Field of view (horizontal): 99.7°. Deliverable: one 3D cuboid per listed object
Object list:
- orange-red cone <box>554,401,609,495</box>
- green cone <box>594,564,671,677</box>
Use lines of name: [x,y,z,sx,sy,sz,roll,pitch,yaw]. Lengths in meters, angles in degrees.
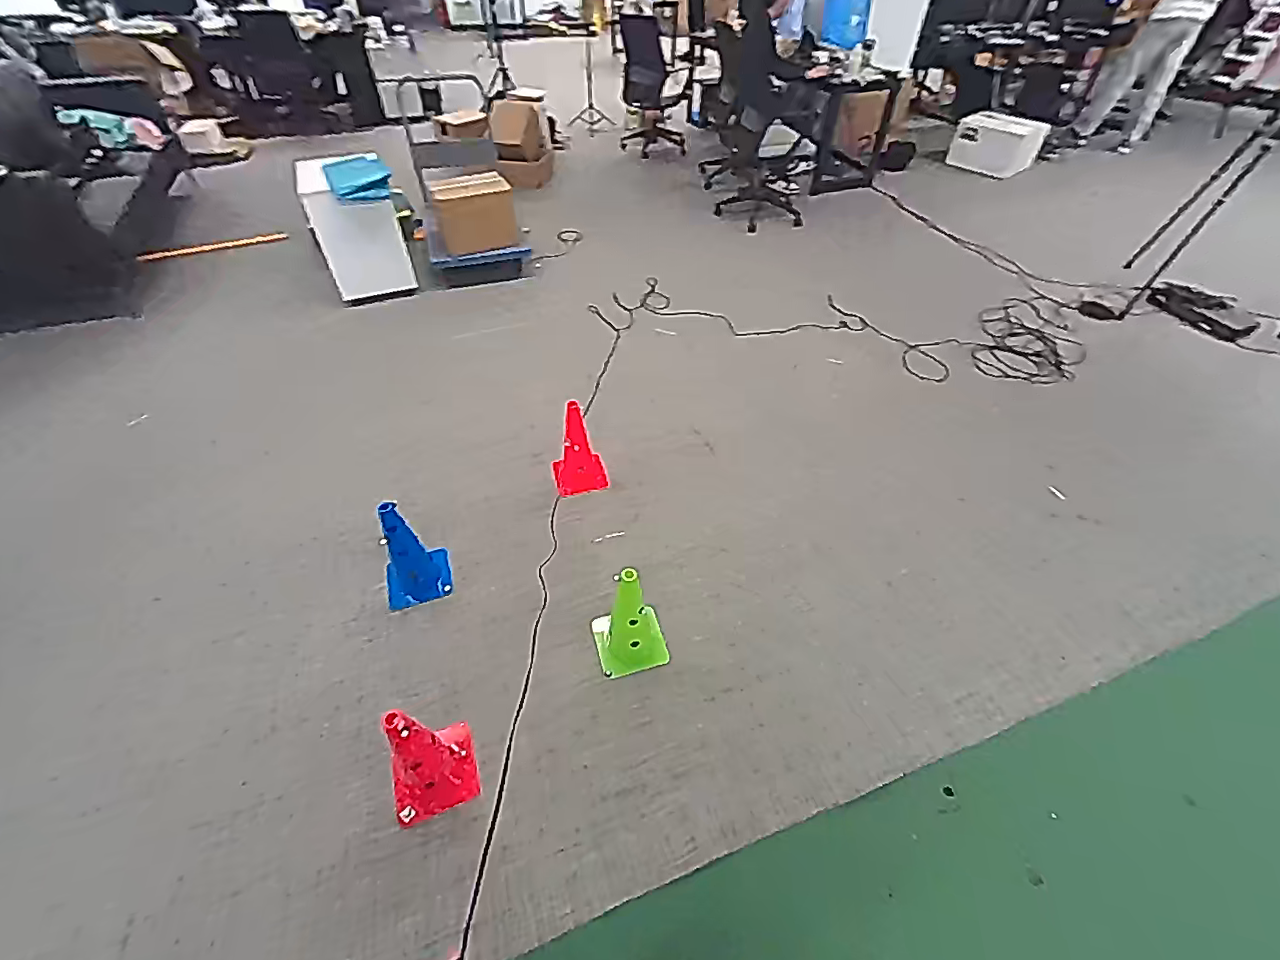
orange-red cone: [-0.233,-0.140,2.001,0.198,0.360,0.199,-12,49,-10]
green cone: [-0.024,0.361,1.511,0.200,0.368,0.202,-12,46,-13]
